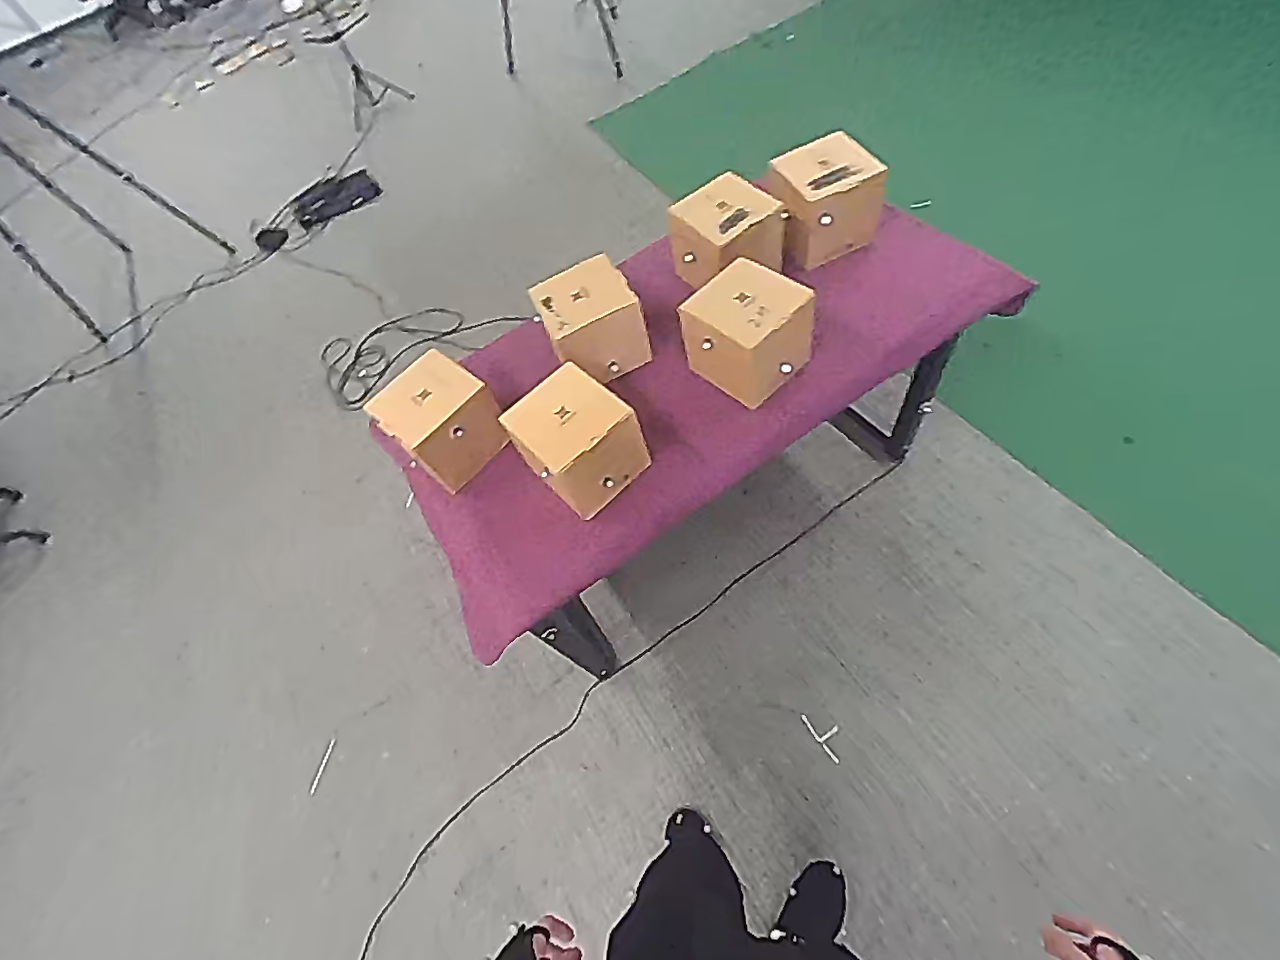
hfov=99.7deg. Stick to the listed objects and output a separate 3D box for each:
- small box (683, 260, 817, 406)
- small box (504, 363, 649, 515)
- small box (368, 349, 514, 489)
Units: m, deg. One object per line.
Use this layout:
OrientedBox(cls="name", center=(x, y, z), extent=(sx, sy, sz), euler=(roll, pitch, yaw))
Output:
OrientedBox(cls="small box", center=(0.205, -0.270, 1.016), extent=(0.168, 0.176, 0.179), euler=(-41, 60, -11))
OrientedBox(cls="small box", center=(-0.107, -0.068, 0.969), extent=(0.168, 0.176, 0.179), euler=(-42, 60, -13))
OrientedBox(cls="small box", center=(-0.375, -0.113, 1.052), extent=(0.168, 0.176, 0.179), euler=(36, 73, 26))
